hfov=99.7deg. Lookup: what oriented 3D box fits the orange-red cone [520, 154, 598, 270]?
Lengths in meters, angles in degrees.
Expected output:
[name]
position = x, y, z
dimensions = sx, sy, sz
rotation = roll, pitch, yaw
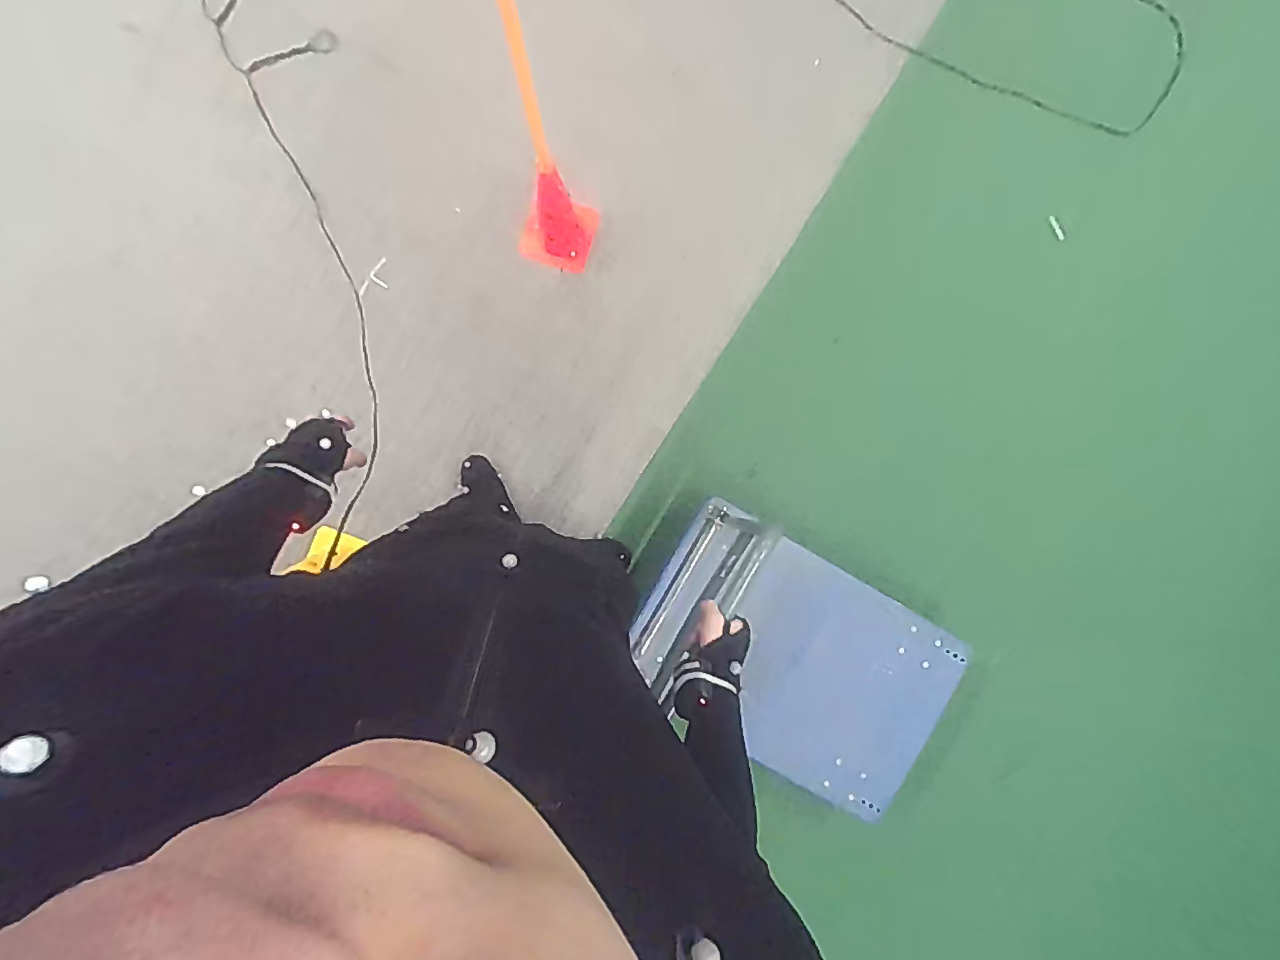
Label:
[orange-red cone]
position = -0.229, -0.746, 1.441
dimensions = 0.198, 0.360, 0.199
rotation = 19, 88, -4
